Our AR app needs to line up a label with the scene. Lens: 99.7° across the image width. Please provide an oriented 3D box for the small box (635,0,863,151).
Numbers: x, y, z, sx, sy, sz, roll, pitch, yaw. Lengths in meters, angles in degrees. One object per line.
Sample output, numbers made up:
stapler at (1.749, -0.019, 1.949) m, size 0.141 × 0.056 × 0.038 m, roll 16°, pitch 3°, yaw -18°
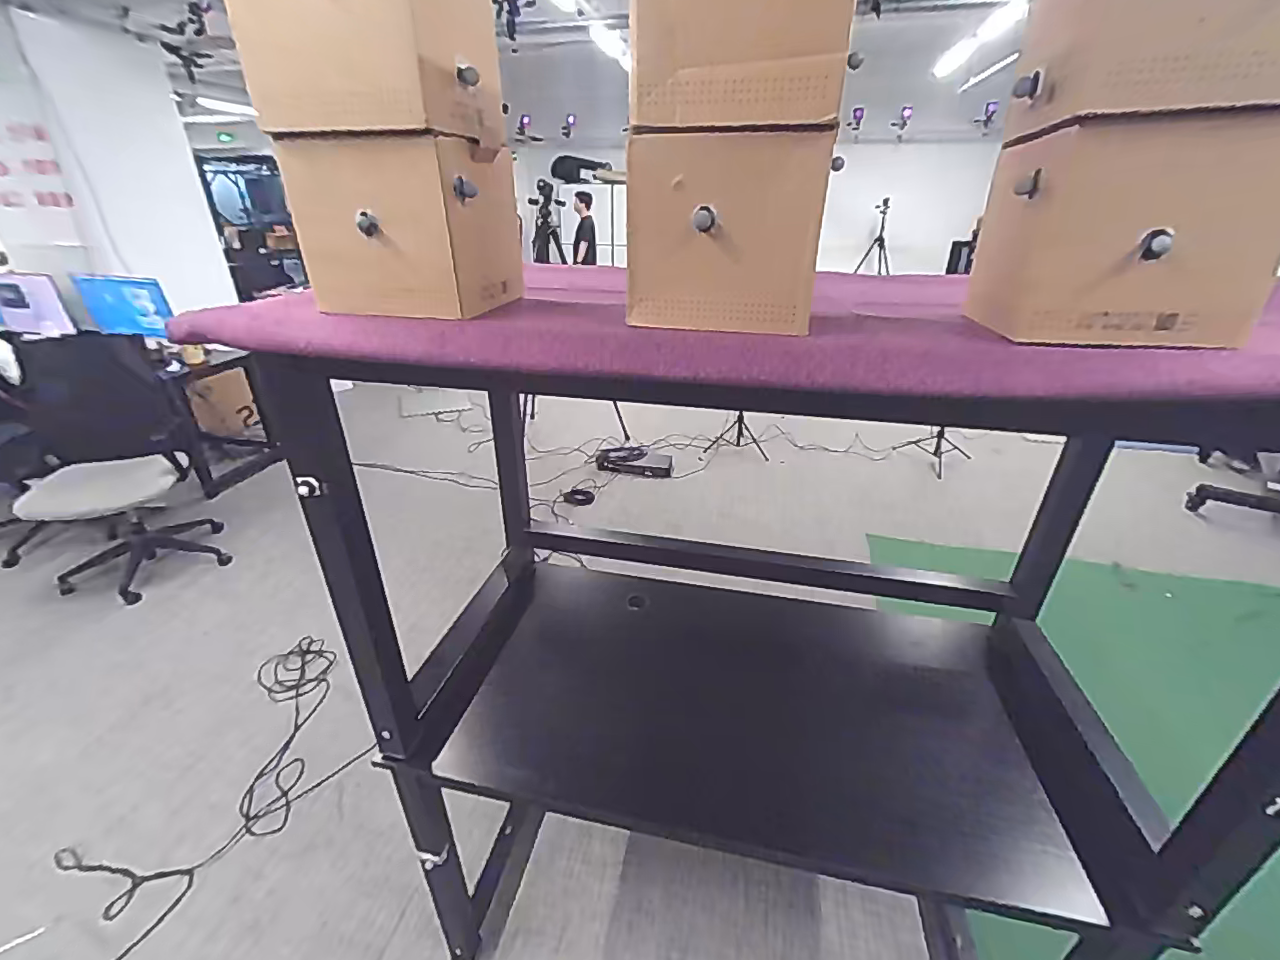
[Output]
small box at (0.098, -0.391, 0.474) m, size 0.179 × 0.176 × 0.168 m, roll 9°, pitch 28°, yaw 14°

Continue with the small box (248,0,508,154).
small box at (-0.245, -0.422, 0.523) m, size 0.179 × 0.176 × 0.168 m, roll 7°, pitch 28°, yaw 10°

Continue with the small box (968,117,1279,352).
small box at (0.429, -0.217, 0.494) m, size 0.168 × 0.176 × 0.179 m, roll 6°, pitch 26°, yaw 13°

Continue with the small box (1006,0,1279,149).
small box at (0.421, -0.358, 0.412) m, size 0.179 × 0.176 × 0.168 m, roll 4°, pitch 24°, yaw 13°

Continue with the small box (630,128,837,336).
small box at (0.094, -0.247, 0.553) m, size 0.179 × 0.176 × 0.168 m, roll 6°, pitch 28°, yaw 12°
